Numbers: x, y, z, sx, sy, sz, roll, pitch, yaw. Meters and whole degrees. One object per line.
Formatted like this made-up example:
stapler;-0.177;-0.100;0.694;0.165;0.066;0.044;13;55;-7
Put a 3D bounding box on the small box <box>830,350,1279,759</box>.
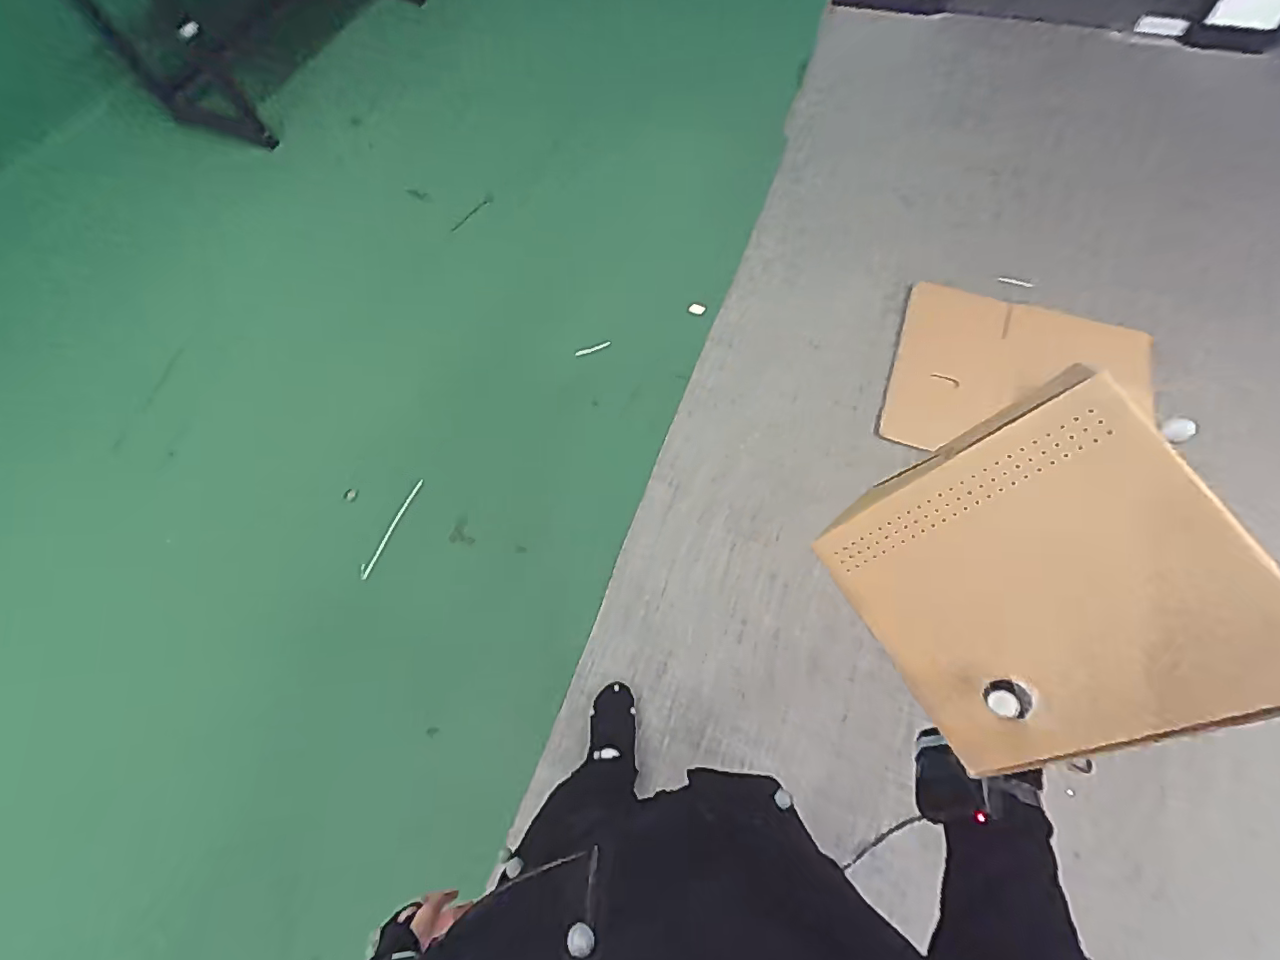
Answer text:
small box;0.248;0.038;0.348;0.168;0.179;0.176;-19;74;-54
